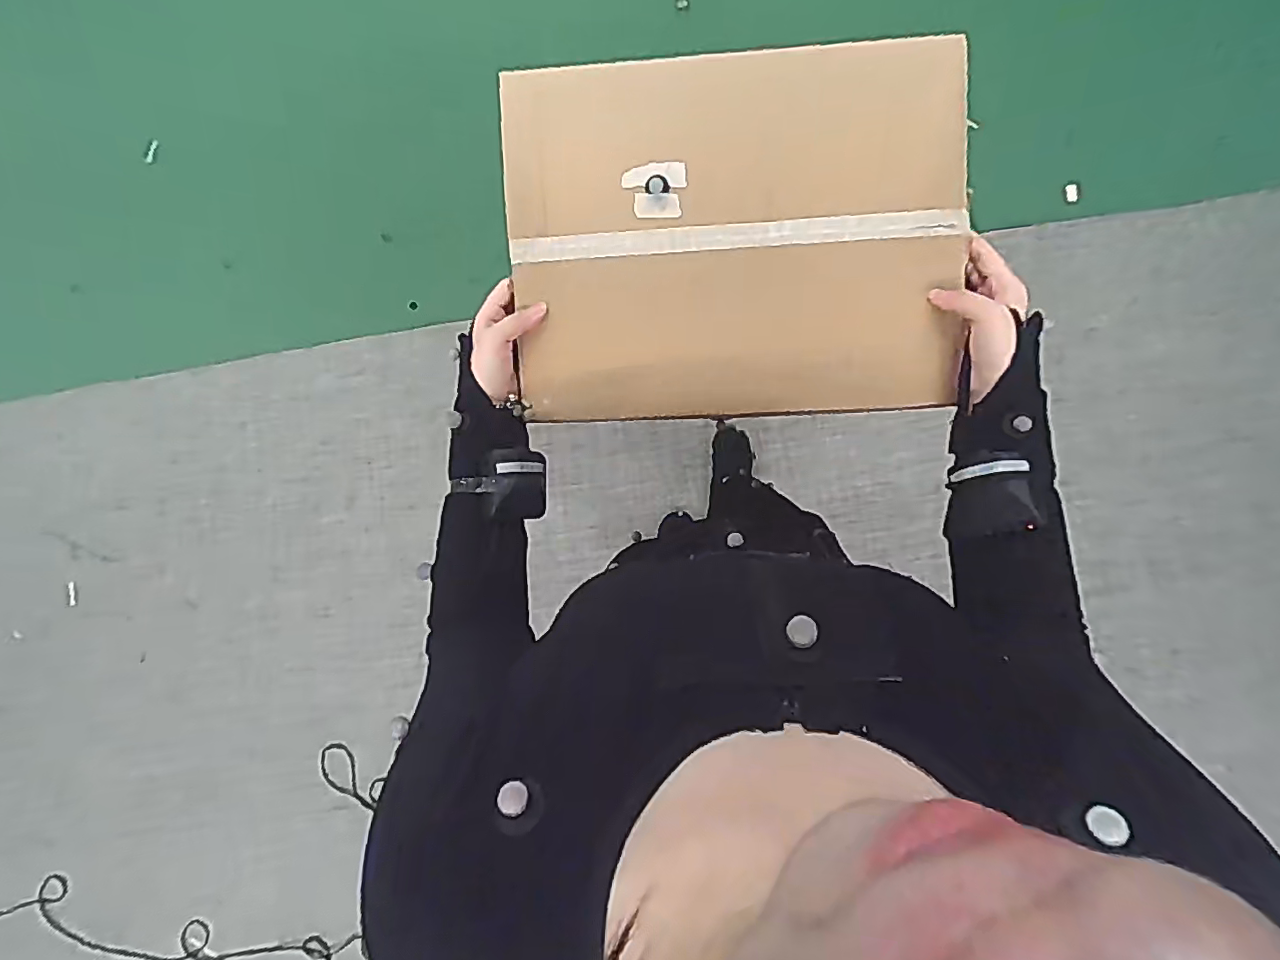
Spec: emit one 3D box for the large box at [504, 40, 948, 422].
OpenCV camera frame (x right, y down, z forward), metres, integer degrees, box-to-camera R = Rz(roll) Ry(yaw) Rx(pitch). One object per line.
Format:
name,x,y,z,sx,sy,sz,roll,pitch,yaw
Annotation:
large box,0.092,-0.238,0.649,0.408,0.320,0.320,-2,96,5
